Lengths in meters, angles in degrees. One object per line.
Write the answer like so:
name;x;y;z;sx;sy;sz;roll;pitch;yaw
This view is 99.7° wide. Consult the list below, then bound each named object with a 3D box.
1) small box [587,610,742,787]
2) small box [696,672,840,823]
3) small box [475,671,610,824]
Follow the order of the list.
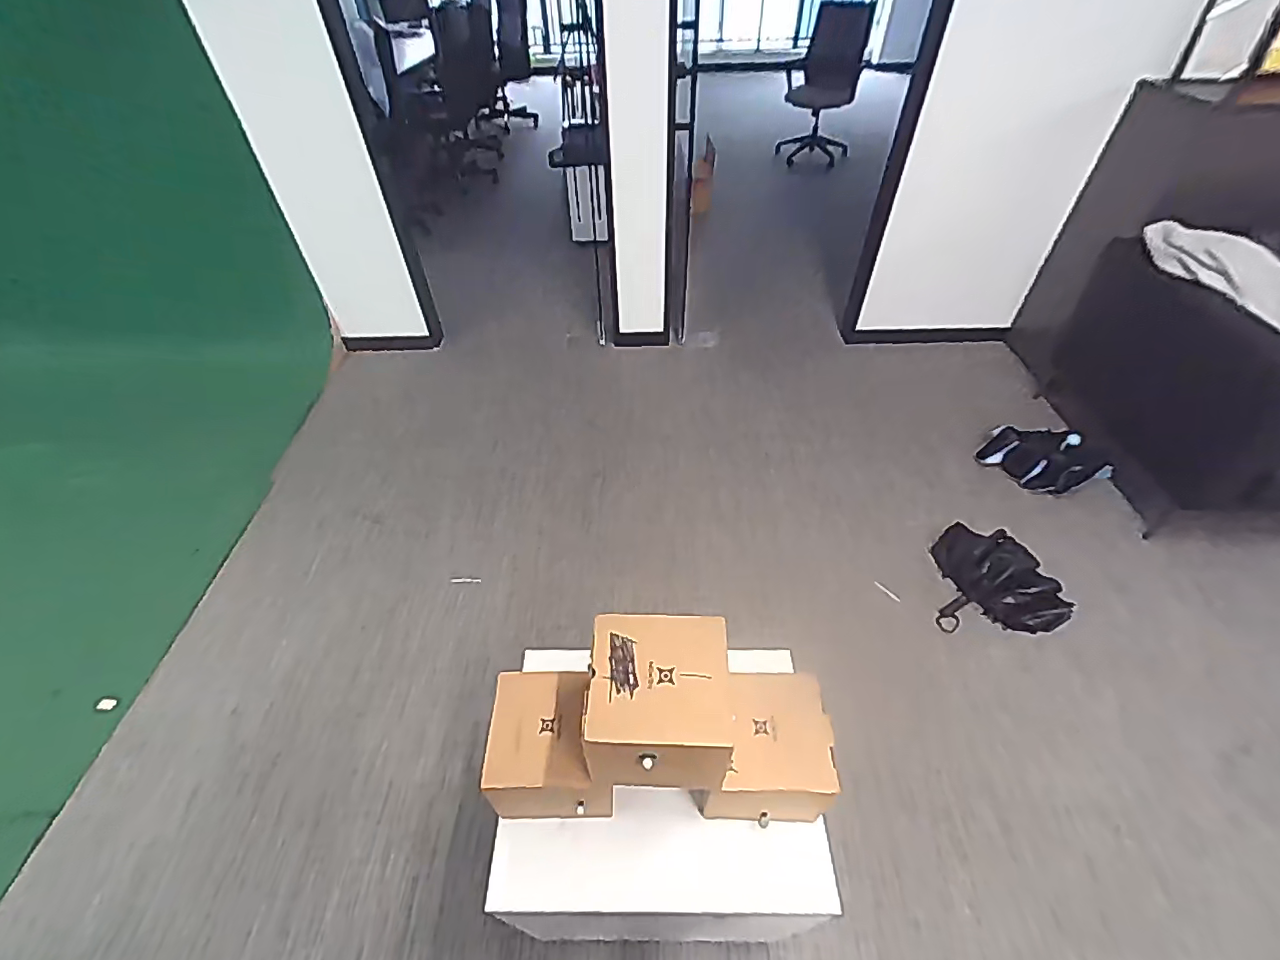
small box;0.028;0.287;0.708;0.179;0.176;0.168;2;46;-1
small box;0.179;0.409;0.826;0.179;0.176;0.168;1;46;0
small box;-0.133;0.404;0.816;0.179;0.176;0.168;-1;44;-3
